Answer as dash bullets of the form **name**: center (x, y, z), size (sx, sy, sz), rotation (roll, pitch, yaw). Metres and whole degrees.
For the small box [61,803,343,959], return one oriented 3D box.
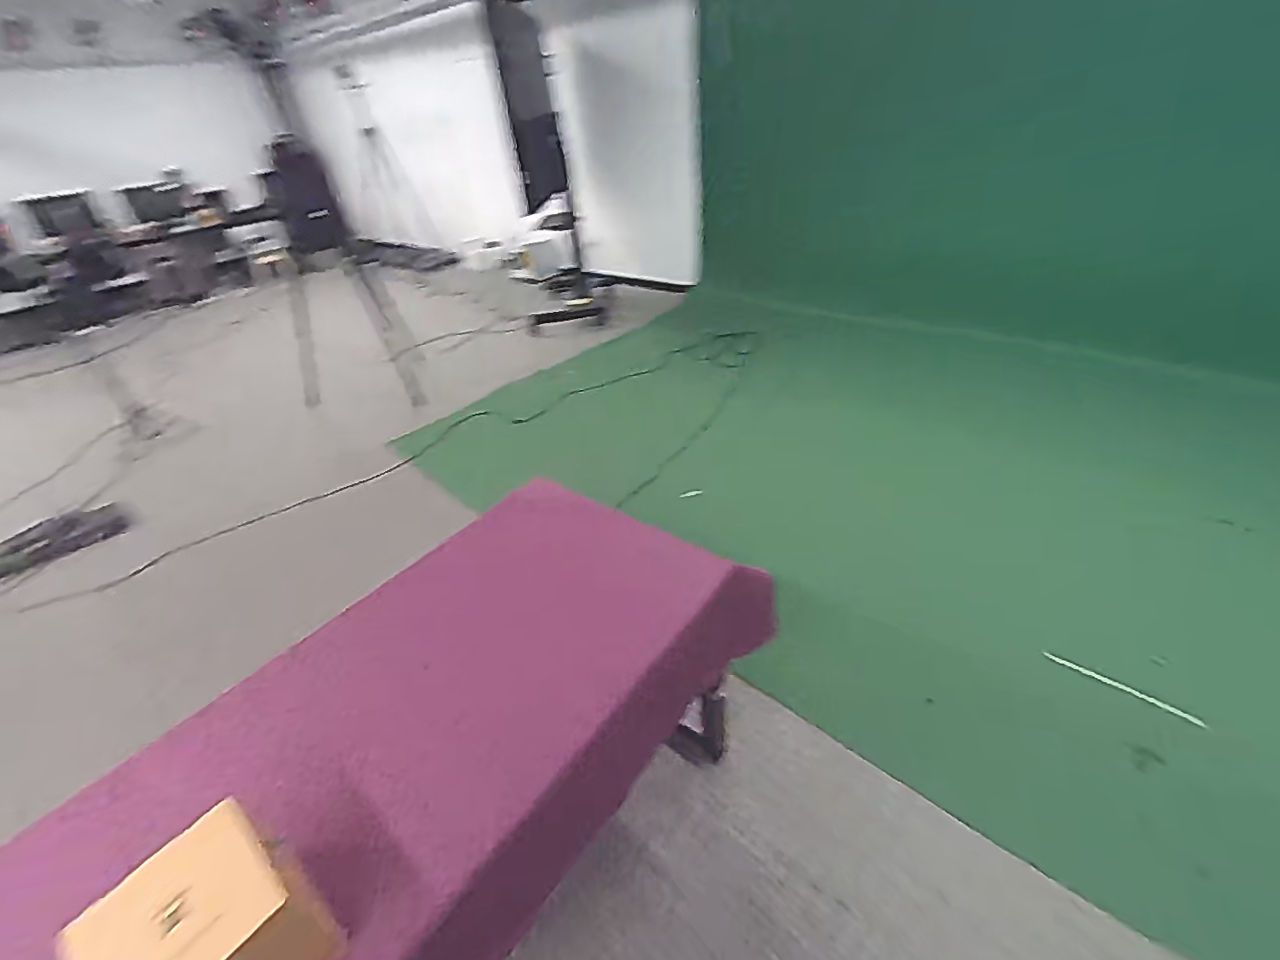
- **small box**: center (-0.478, 0.522, 0.608), size (0.179, 0.176, 0.168), rotation (22, 45, 33)
